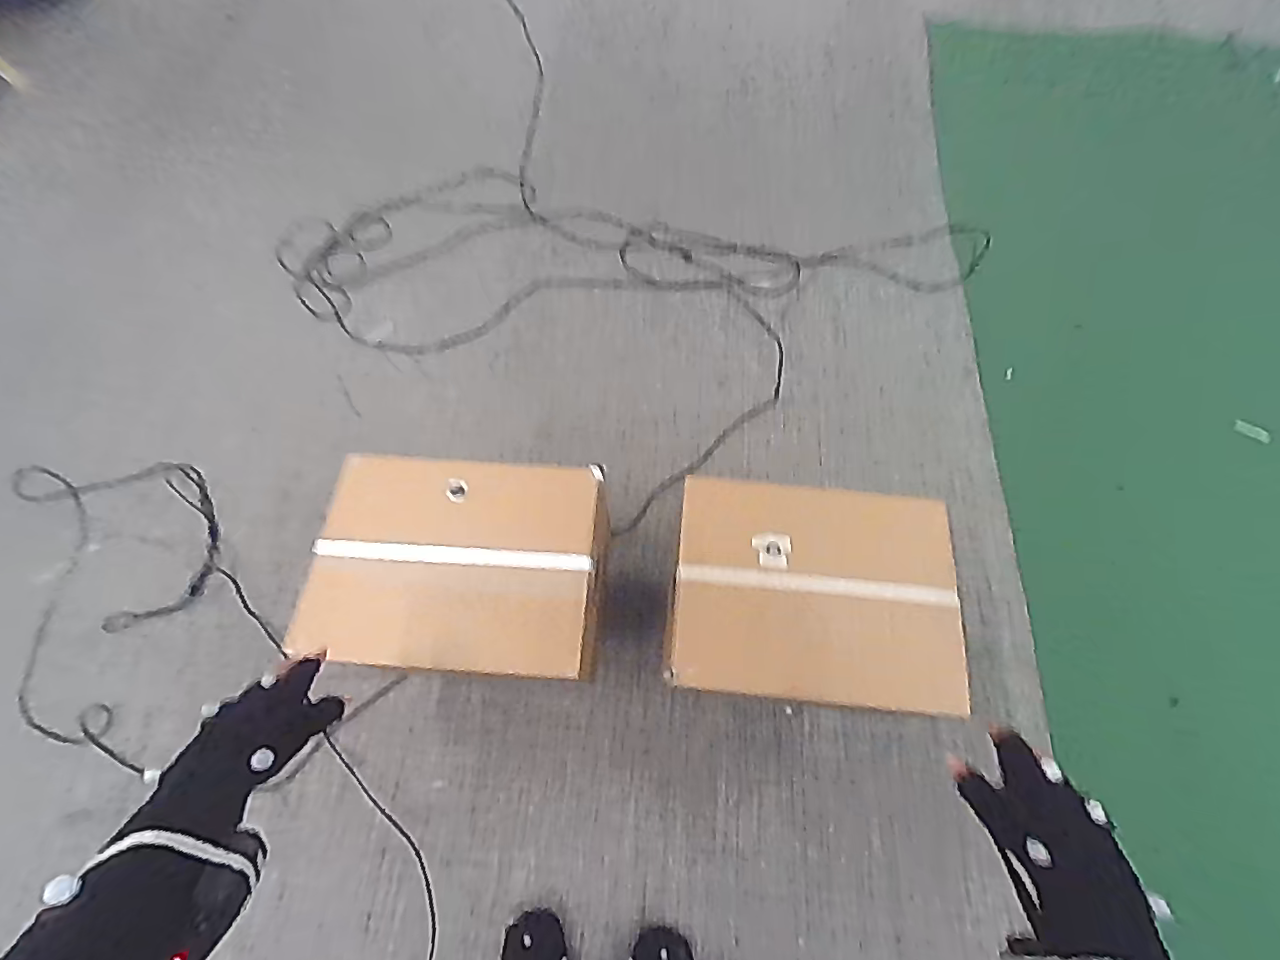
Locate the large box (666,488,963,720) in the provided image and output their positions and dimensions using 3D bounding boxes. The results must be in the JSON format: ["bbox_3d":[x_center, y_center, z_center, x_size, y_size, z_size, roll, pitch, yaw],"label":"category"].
[{"bbox_3d":[0.261,0.224,0.936,0.408,0.320,0.320,6,67,3],"label":"large box"}]
